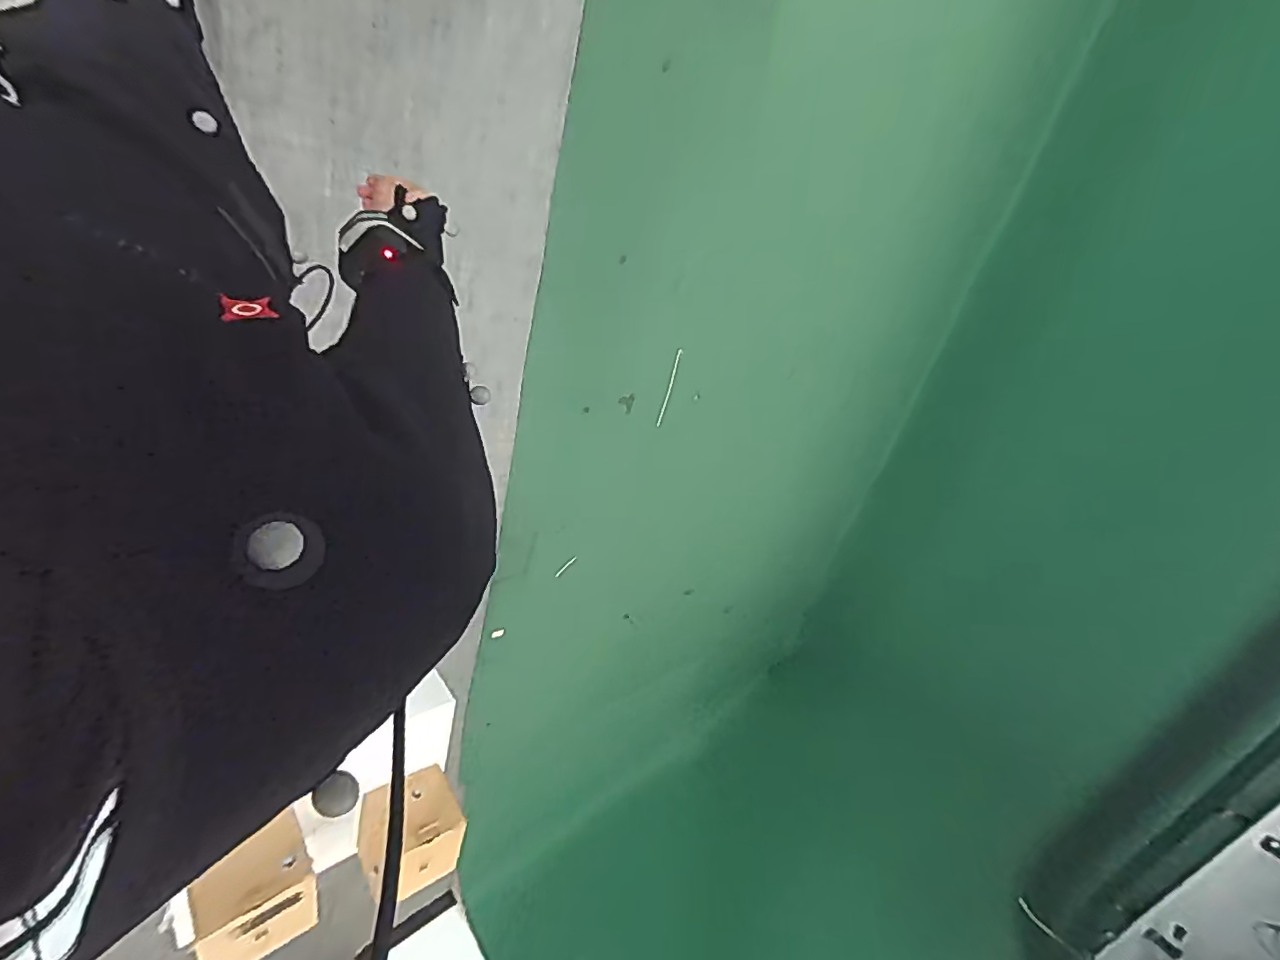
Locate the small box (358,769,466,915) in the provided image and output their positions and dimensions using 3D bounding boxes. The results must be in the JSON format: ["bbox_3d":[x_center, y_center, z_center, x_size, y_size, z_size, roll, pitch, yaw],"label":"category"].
[{"bbox_3d":[-0.510,0.790,1.198,0.168,0.176,0.179,-5,121,-44],"label":"small box"}]
